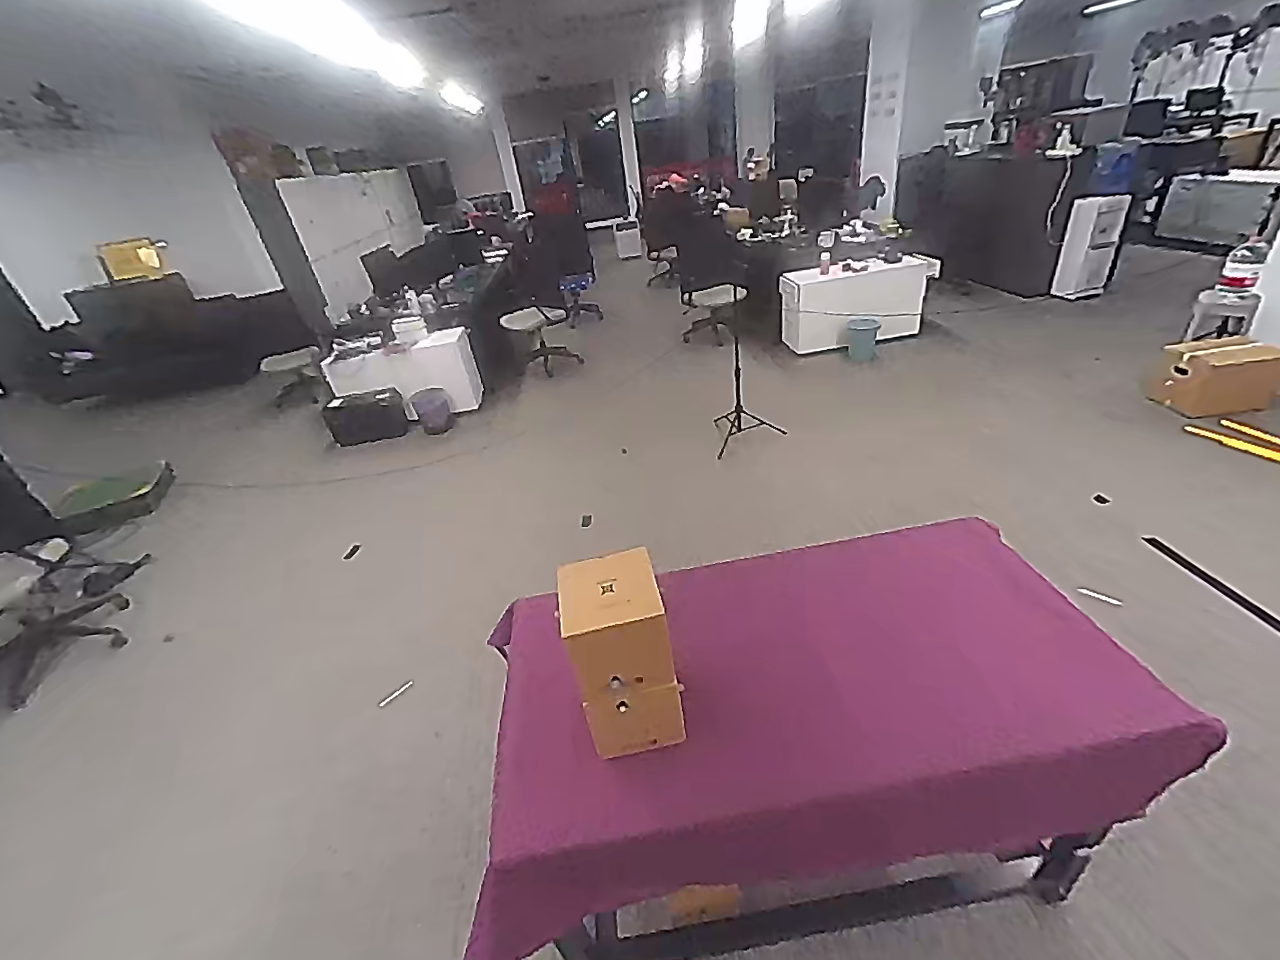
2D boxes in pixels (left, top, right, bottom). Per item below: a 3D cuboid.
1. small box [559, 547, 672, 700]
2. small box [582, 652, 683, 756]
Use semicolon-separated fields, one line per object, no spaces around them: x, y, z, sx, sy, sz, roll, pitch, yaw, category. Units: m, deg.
-0.045;0.247;0.942;0.168;0.176;0.179;-11;32;-4;small box
-0.018;0.385;1.026;0.168;0.176;0.179;-11;31;-3;small box
